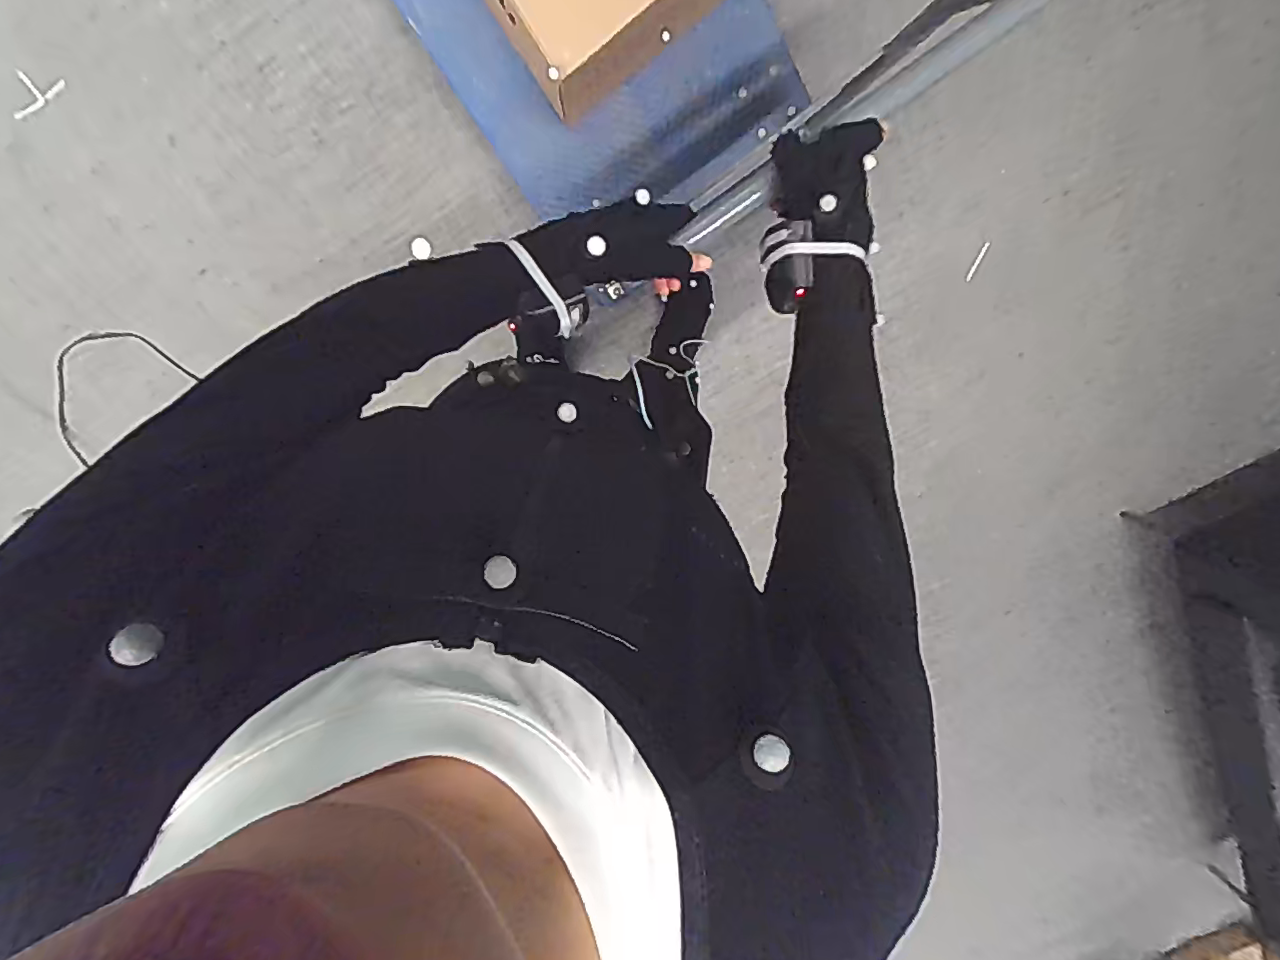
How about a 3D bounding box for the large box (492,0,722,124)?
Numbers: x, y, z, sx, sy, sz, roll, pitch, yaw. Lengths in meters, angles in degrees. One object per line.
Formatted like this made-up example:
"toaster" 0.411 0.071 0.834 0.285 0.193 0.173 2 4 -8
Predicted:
"large box" -0.048 -0.864 0.850 0.408 0.320 0.320 -34 110 10
